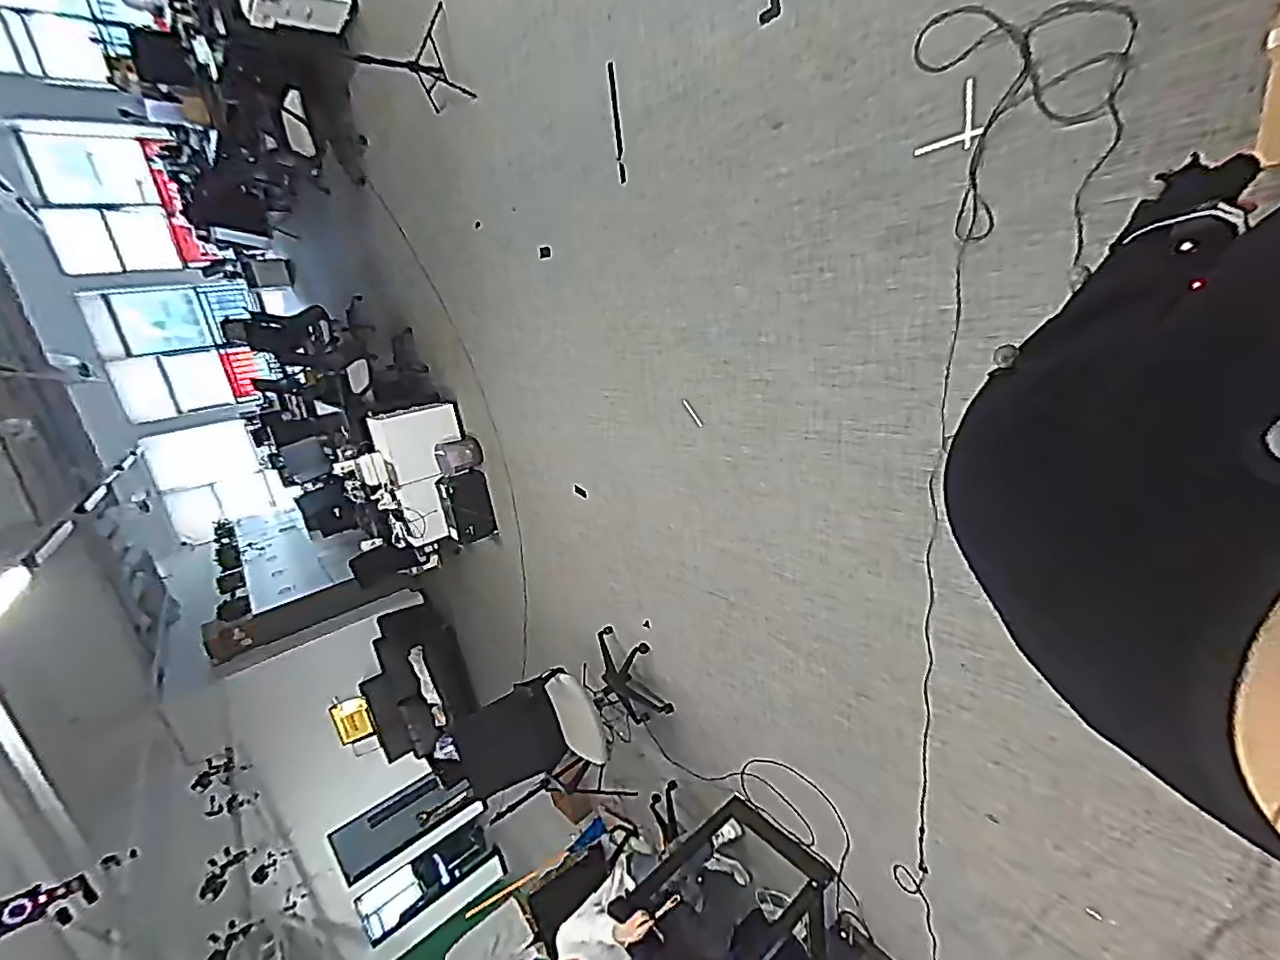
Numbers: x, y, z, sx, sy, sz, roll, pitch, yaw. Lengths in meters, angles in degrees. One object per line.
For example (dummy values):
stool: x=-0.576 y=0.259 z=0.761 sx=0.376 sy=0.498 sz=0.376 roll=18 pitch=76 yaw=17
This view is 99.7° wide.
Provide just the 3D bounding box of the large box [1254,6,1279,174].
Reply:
large box: x=1.079 y=-0.600 z=0.654 sx=0.408 sy=0.320 sz=0.320 roll=14 pitch=118 yaw=48
